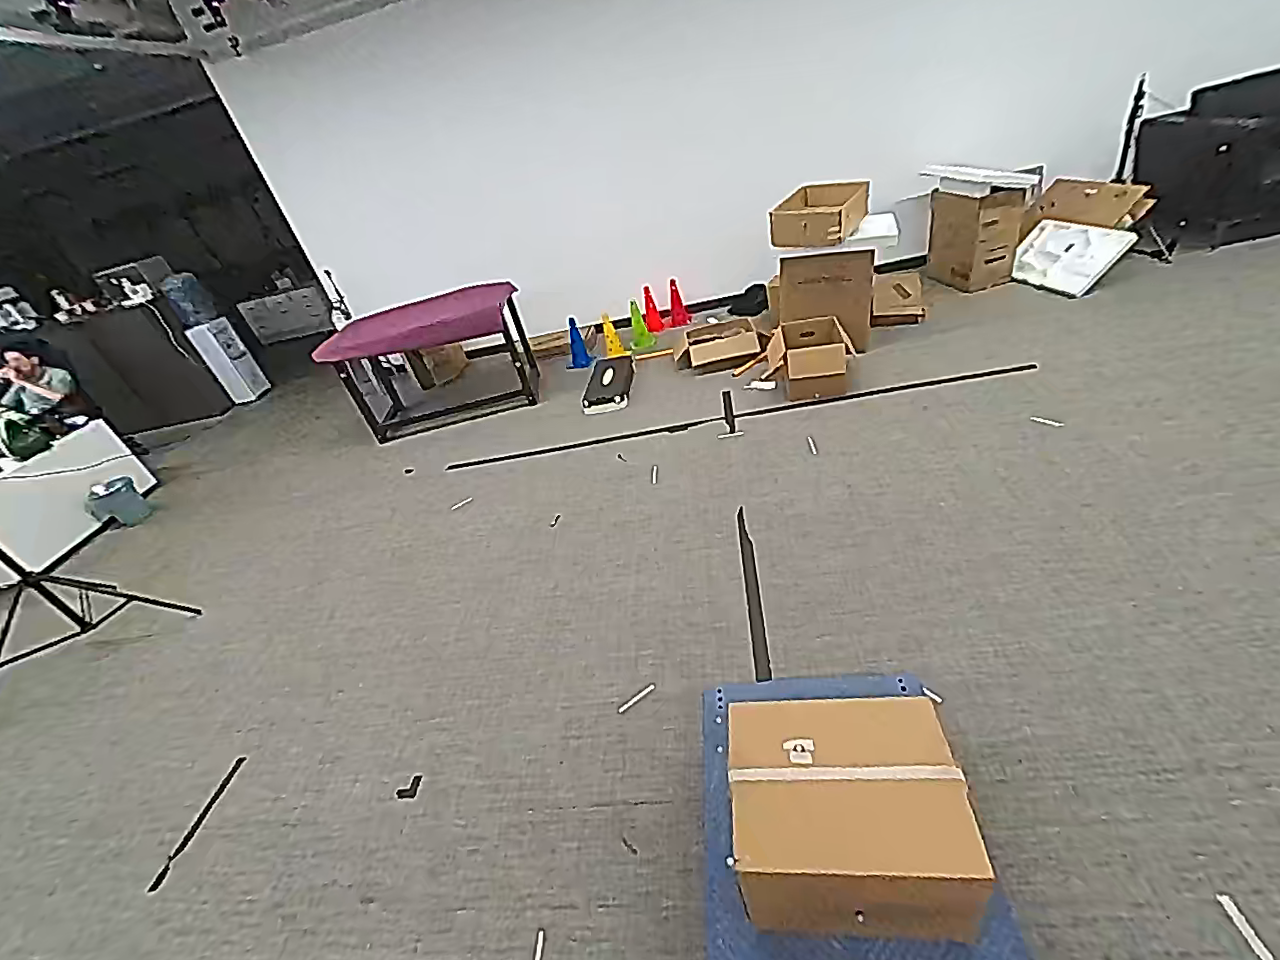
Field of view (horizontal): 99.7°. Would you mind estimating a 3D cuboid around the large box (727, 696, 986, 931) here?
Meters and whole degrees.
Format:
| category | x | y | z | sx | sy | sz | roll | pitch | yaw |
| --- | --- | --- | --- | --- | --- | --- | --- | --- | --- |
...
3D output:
| category | x | y | z | sx | sy | sz | roll | pitch | yaw |
| --- | --- | --- | --- | --- | --- | --- | --- | --- | --- |
| large box | 0.405 | 0.675 | 1.094 | 0.408 | 0.320 | 0.320 | -9 | 34 | 12 |
